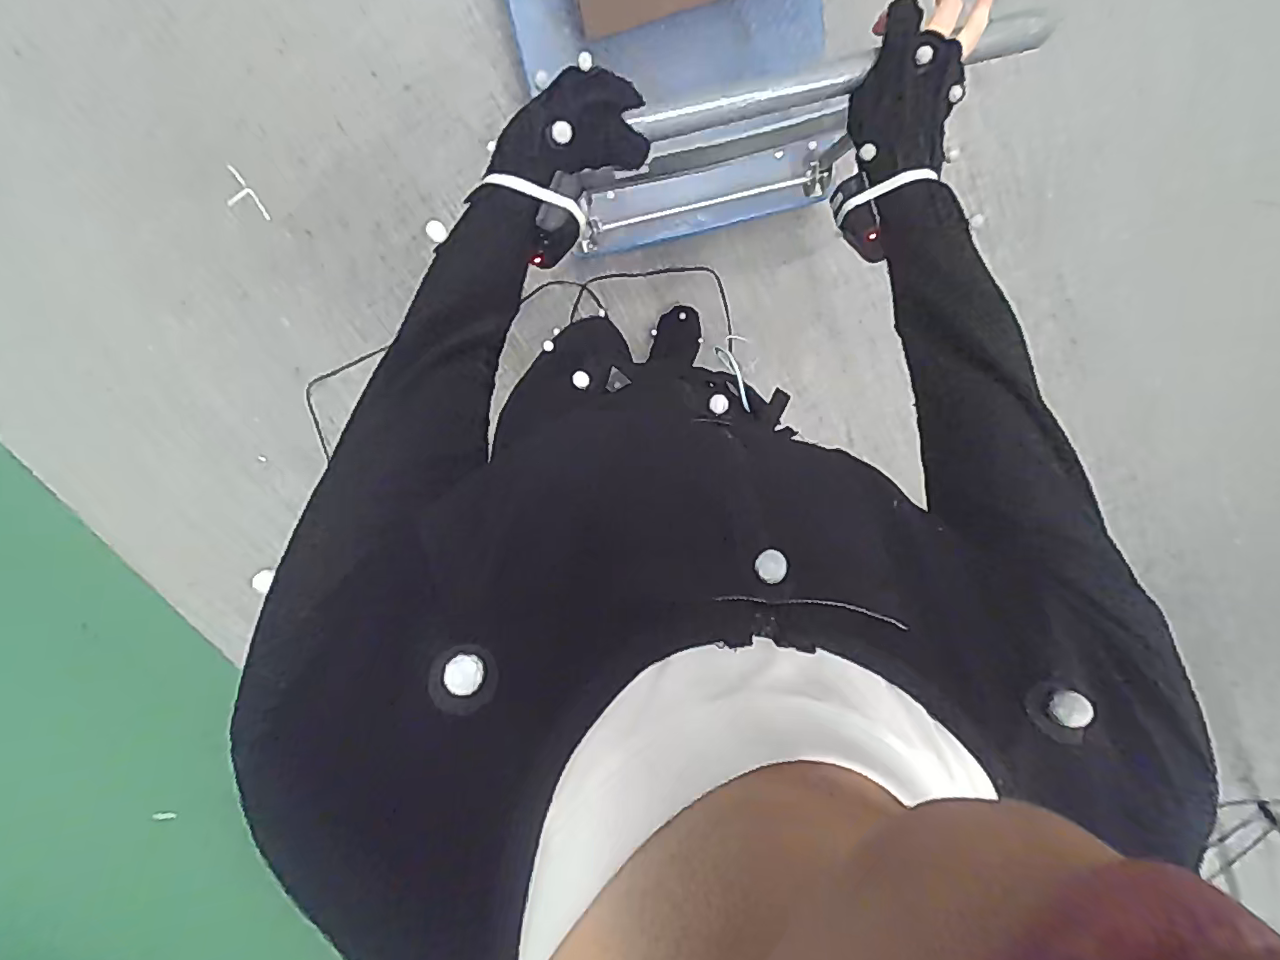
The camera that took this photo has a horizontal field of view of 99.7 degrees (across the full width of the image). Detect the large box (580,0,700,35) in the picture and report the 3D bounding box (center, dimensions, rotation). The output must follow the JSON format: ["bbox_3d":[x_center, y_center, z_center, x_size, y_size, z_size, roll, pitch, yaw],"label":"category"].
[{"bbox_3d":[0.061,-0.973,0.822,0.408,0.320,0.320,-15,110,4],"label":"large box"}]
